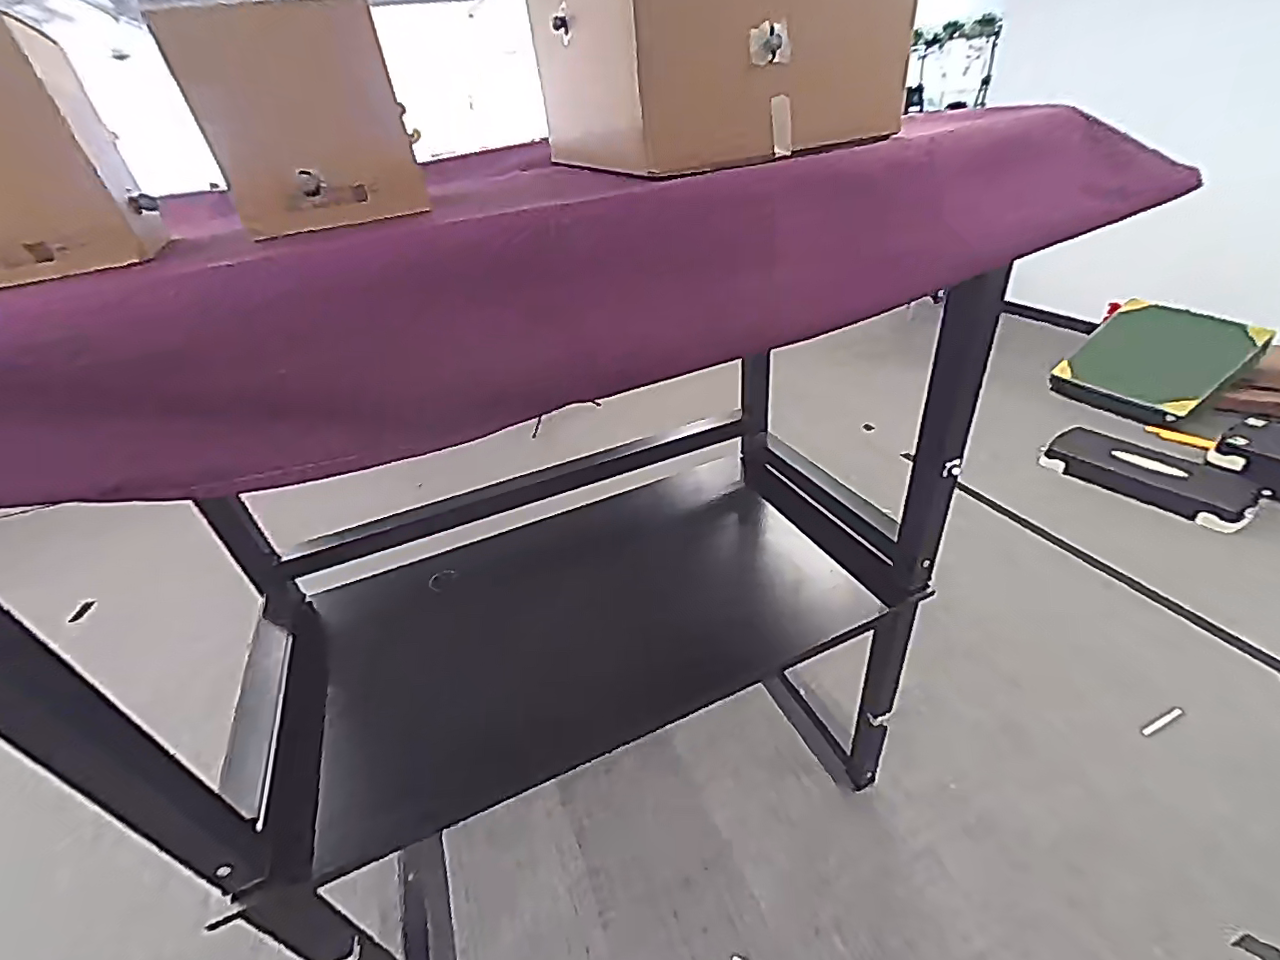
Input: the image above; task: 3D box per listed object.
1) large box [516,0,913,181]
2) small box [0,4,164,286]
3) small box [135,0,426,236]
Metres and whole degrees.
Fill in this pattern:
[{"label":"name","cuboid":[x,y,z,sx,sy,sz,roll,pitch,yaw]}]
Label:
[{"label":"large box","cuboid":[0.054,-0.552,0.629,0.320,0.320,0.408,-18,35,-15]},{"label":"small box","cuboid":[-0.533,-0.257,0.437,0.168,0.176,0.179,-24,37,-23]},{"label":"small box","cuboid":[-0.327,-0.350,0.533,0.168,0.176,0.179,-20,37,-16]}]
